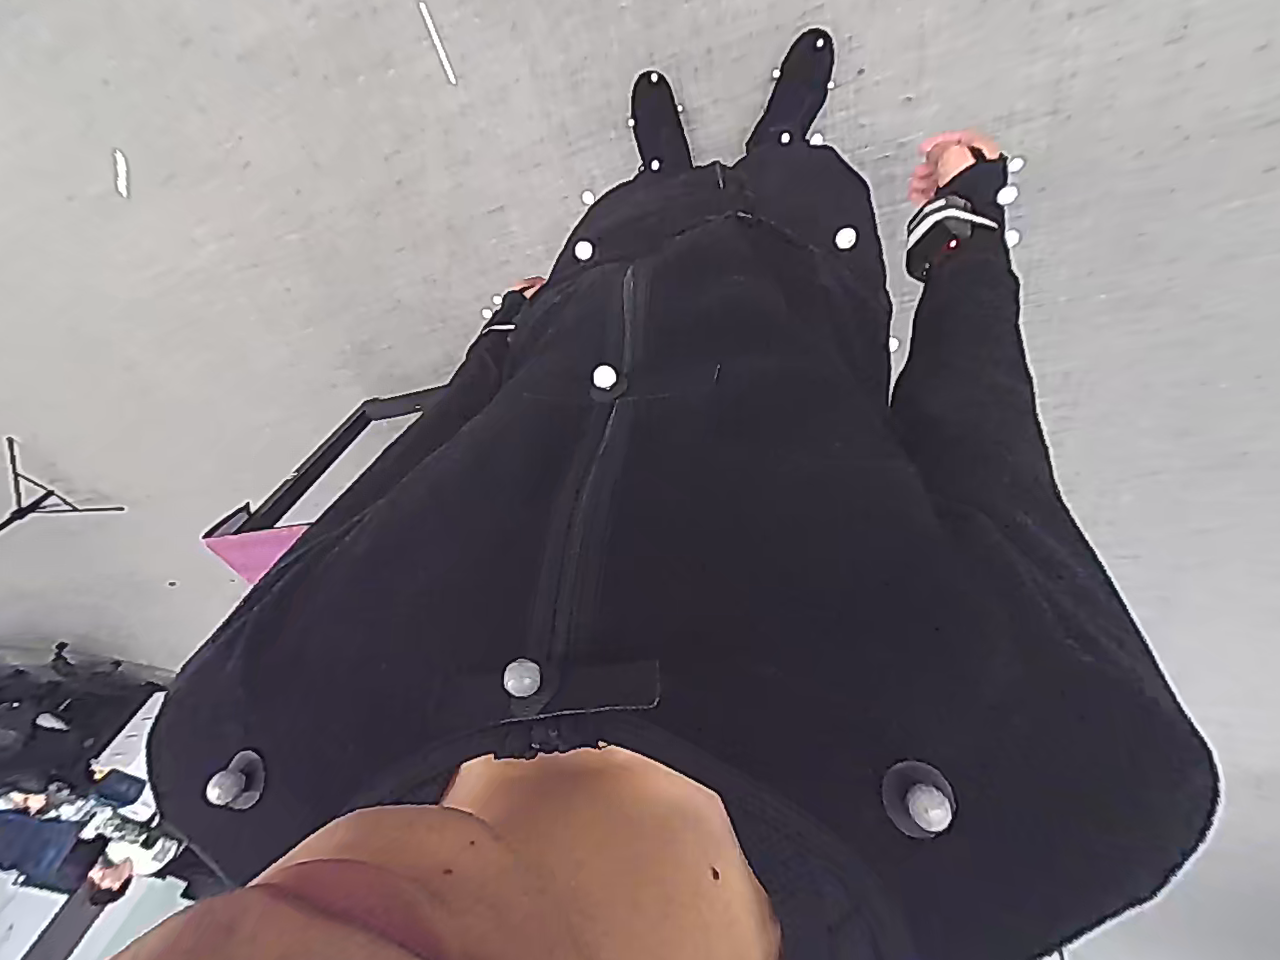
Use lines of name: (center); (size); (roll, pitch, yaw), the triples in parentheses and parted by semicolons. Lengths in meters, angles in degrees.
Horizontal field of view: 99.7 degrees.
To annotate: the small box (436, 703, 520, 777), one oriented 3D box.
small box: (-0.527, 0.858, 1.784); (0.179, 0.176, 0.168); (-16, 126, 24)
